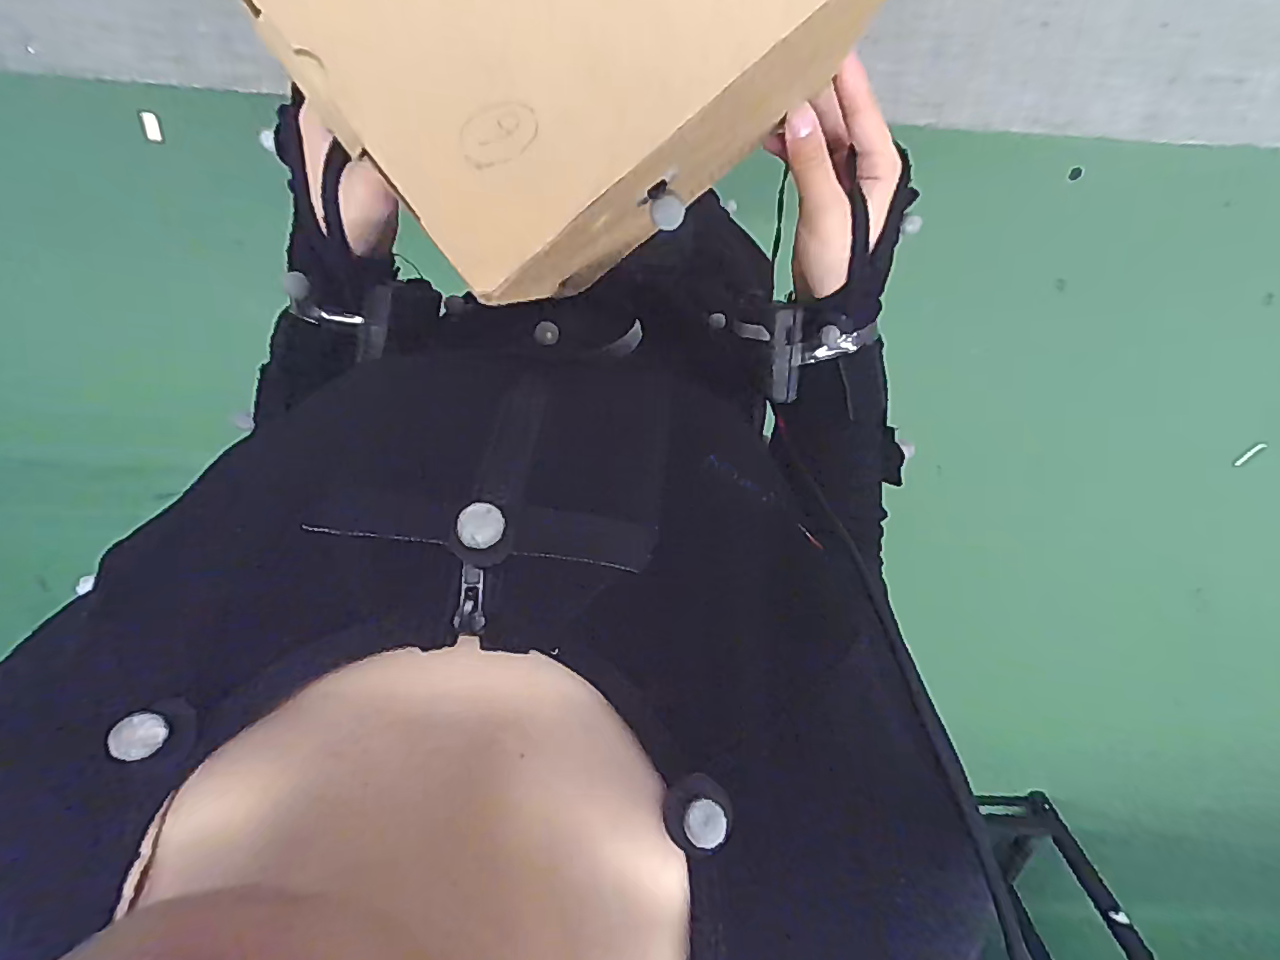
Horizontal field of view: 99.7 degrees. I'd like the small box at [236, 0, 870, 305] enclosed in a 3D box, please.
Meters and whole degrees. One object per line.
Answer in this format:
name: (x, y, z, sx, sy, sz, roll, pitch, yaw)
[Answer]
small box: (-0.026, -0.193, 0.226, 0.179, 0.176, 0.168, -34, 103, 16)
